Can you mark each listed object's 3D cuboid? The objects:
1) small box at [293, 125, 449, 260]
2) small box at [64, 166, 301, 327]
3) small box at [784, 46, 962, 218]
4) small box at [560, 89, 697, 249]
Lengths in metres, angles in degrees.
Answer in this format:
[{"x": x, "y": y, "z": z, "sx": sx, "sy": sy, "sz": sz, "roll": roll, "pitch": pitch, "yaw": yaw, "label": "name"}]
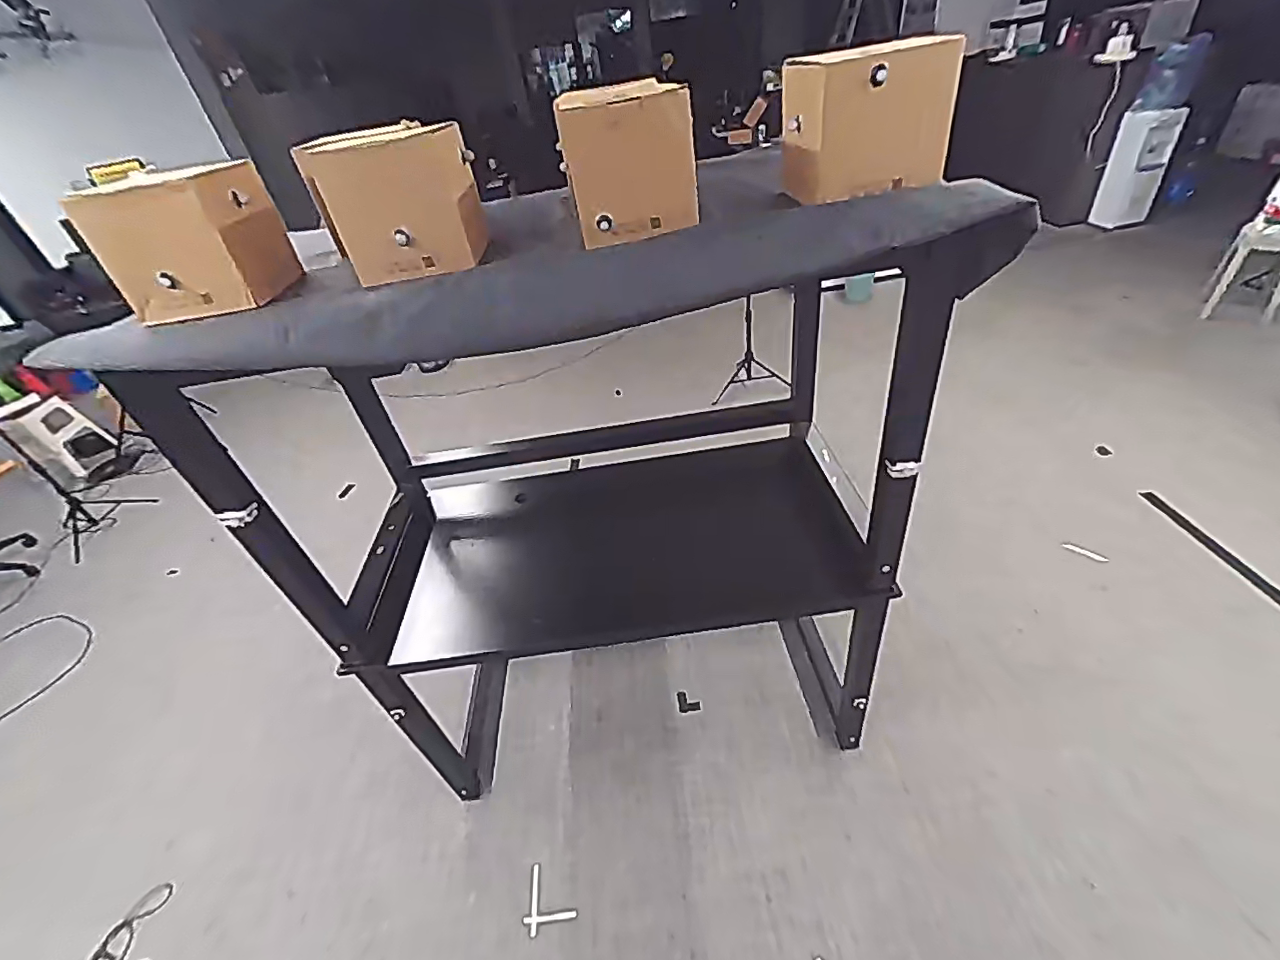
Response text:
[{"x": -0.457, "y": -0.507, "z": 0.956, "sx": 0.179, "sy": 0.176, "sz": 0.168, "roll": -10, "pitch": 38, "yaw": -1, "label": "small box"}, {"x": -0.629, "y": -0.337, "z": 0.779, "sx": 0.168, "sy": 0.176, "sz": 0.179, "roll": -10, "pitch": 38, "yaw": -1, "label": "small box"}, {"x": 0.301, "y": -0.475, "z": 0.745, "sx": 0.168, "sy": 0.176, "sz": 0.179, "roll": -10, "pitch": 37, "yaw": 2, "label": "small box"}, {"x": -0.016, "y": -0.445, "z": 0.780, "sx": 0.168, "sy": 0.176, "sz": 0.179, "roll": -10, "pitch": 37, "yaw": 0, "label": "small box"}]
